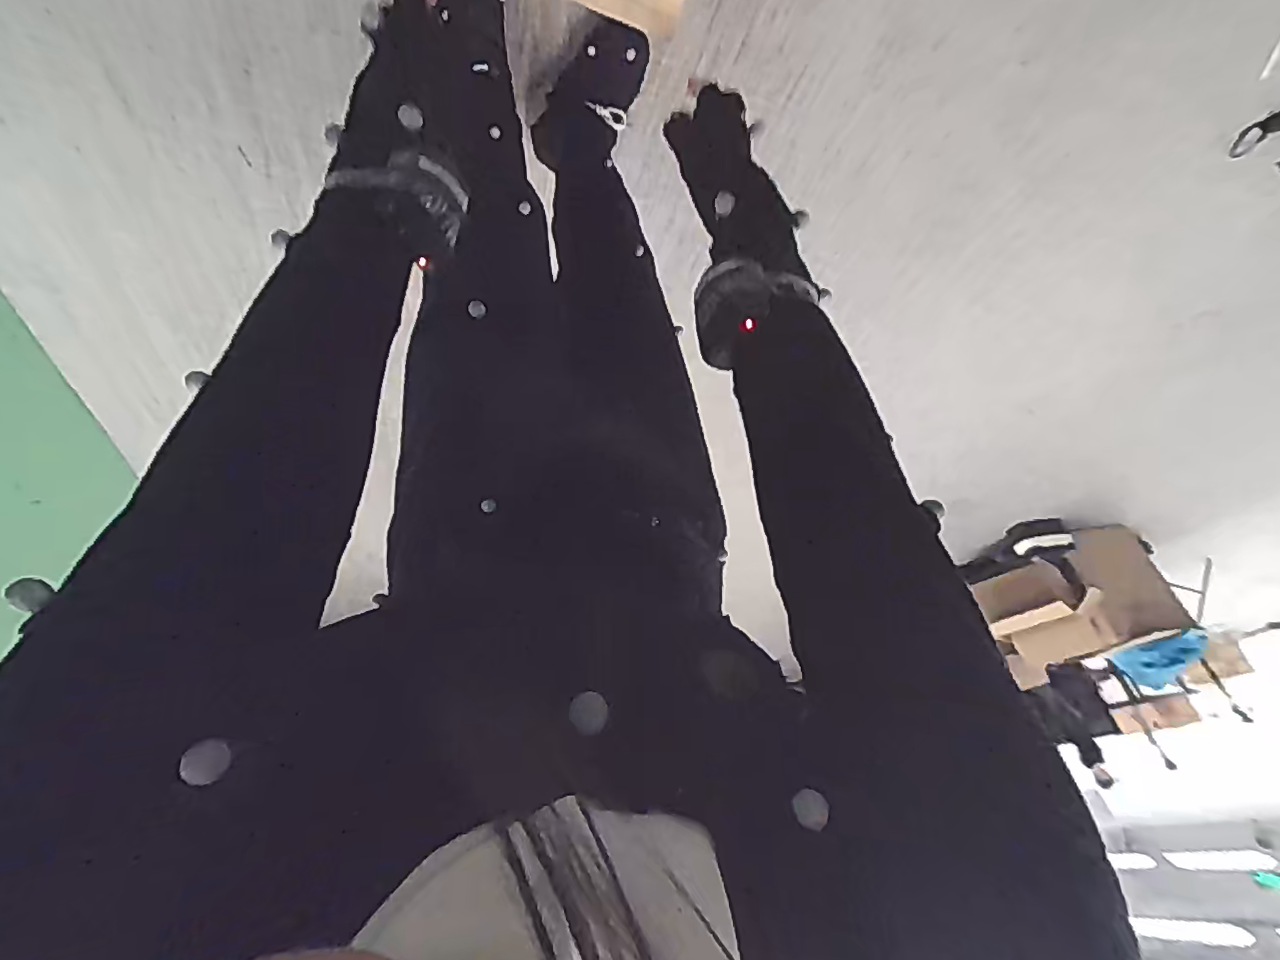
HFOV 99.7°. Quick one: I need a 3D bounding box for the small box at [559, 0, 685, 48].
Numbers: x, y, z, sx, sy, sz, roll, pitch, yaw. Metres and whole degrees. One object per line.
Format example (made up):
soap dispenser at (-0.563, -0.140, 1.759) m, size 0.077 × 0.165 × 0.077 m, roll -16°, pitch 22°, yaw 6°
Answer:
small box at (-0.036, -0.506, 0.436) m, size 0.179 × 0.176 × 0.168 m, roll 6°, pitch 144°, yaw -23°
